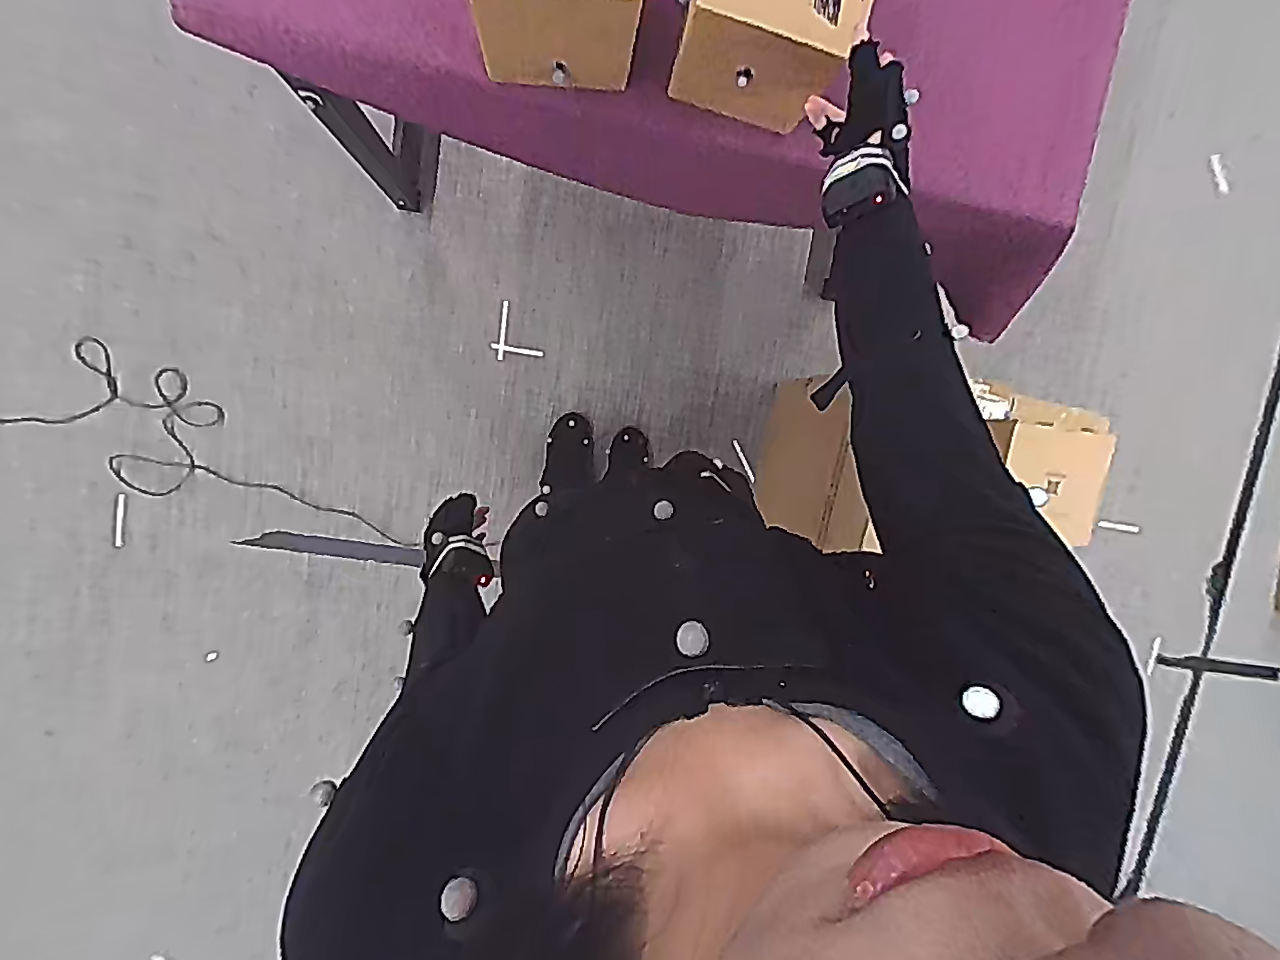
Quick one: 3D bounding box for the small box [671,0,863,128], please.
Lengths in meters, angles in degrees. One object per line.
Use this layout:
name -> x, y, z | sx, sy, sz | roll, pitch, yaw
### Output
small box -> 0.149, -0.558, 0.640 | 0.179, 0.176, 0.168 | 13, 95, -8

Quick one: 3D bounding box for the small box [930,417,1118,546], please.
small box -> 0.605, -0.007, 0.876 | 0.168, 0.176, 0.179 | 7, 98, -5

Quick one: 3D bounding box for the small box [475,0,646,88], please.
small box -> -0.092, -0.577, 0.607 | 0.179, 0.176, 0.168 | -2, 97, -8
